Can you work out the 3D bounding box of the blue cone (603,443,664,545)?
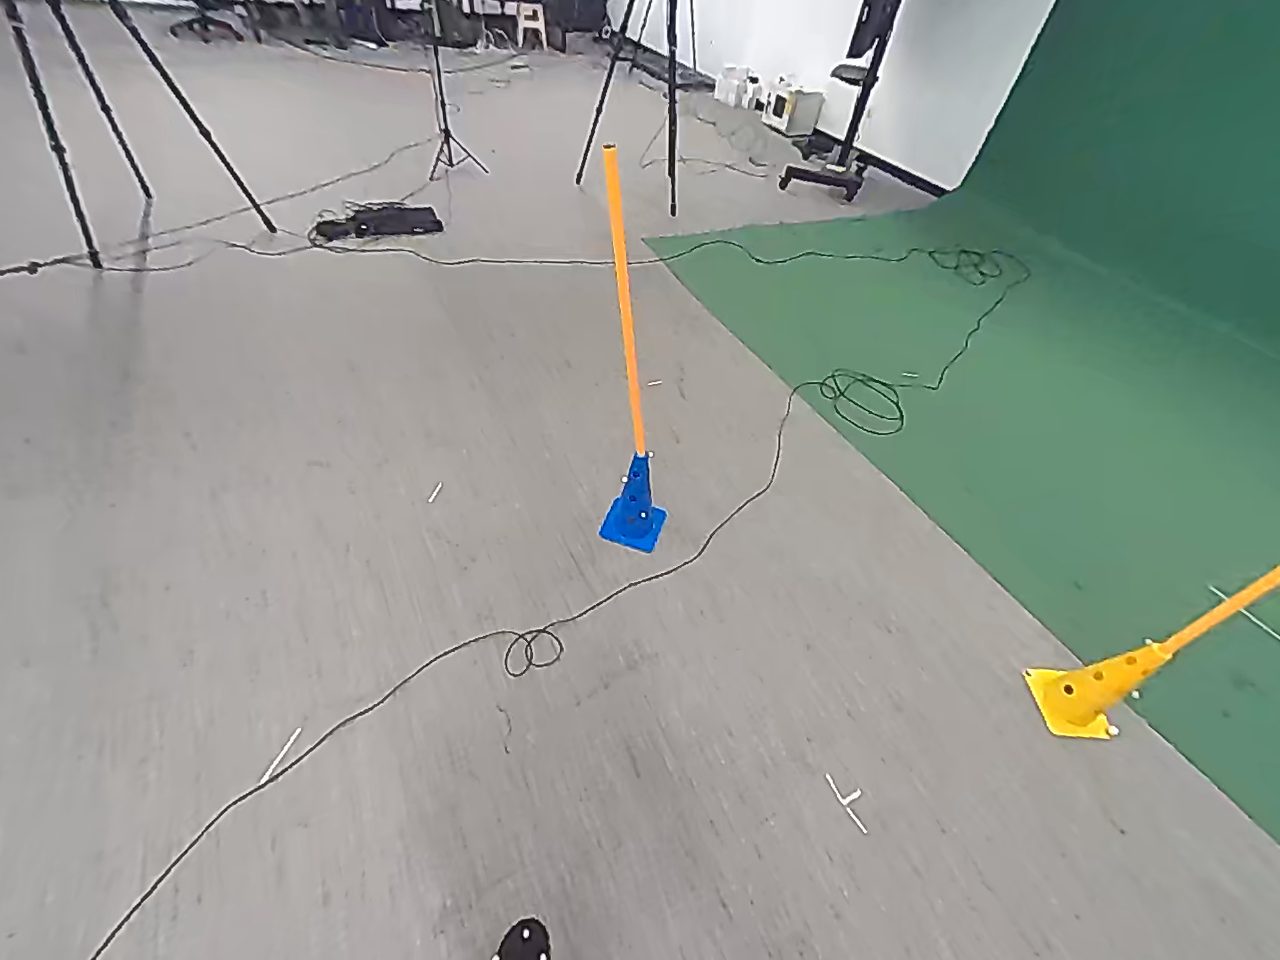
[{"bbox_3d":[-0.011,0.030,1.776,0.193,0.380,0.192,15,48,8],"label":"blue cone"}]
